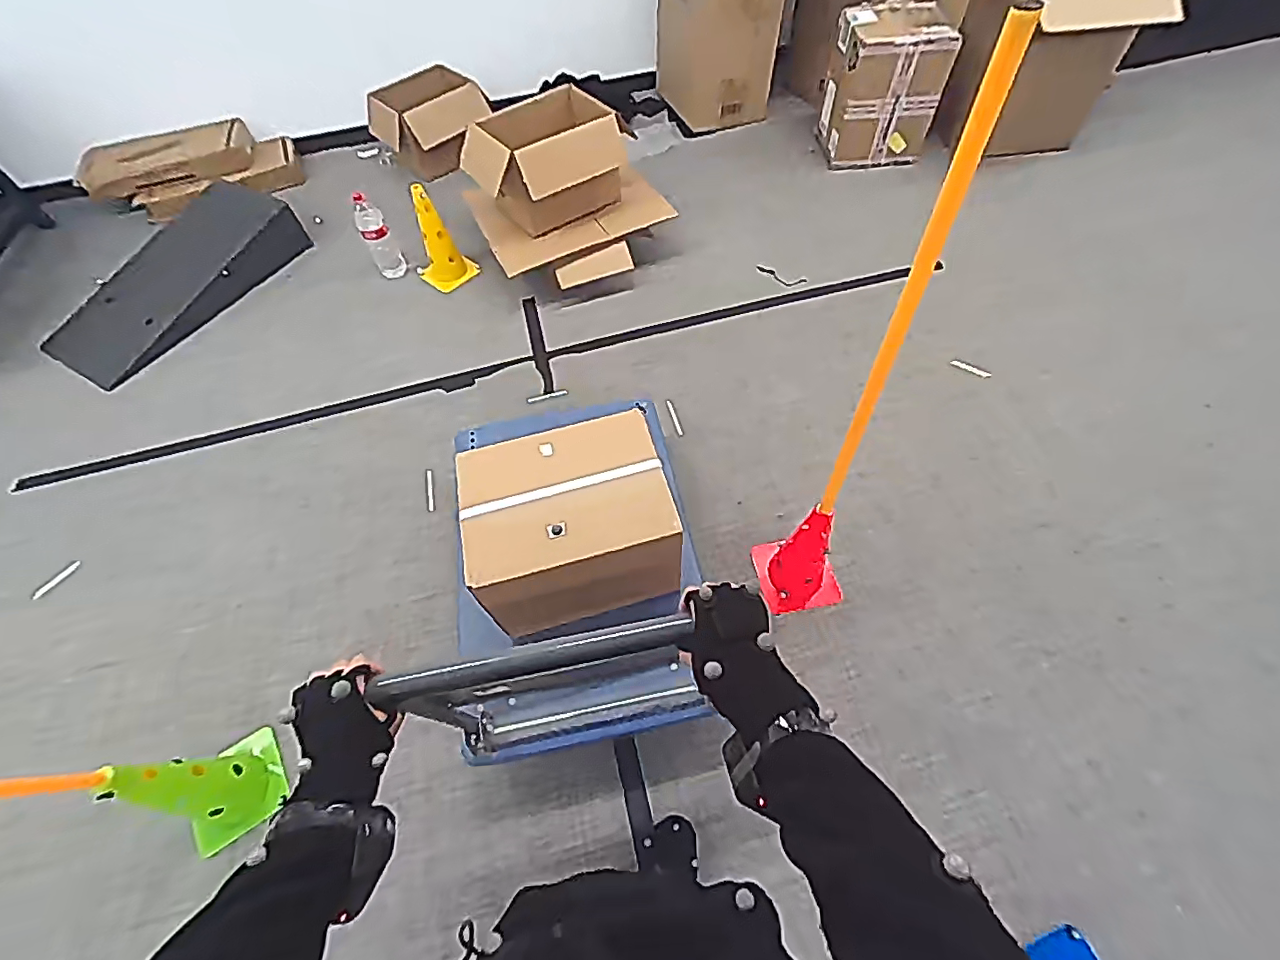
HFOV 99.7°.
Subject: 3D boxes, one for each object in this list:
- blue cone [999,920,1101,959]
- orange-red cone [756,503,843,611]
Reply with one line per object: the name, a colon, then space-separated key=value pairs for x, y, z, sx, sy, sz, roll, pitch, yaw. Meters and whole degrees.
blue cone: x=0.774 y=0.860 z=0.850 sx=0.193 sy=0.380 sz=0.192 roll=-18 pitch=57 yaw=-8
orange-red cone: x=0.417 y=0.157 z=1.307 sx=0.199 sy=0.360 sz=0.198 roll=-8 pitch=58 yaw=-3
